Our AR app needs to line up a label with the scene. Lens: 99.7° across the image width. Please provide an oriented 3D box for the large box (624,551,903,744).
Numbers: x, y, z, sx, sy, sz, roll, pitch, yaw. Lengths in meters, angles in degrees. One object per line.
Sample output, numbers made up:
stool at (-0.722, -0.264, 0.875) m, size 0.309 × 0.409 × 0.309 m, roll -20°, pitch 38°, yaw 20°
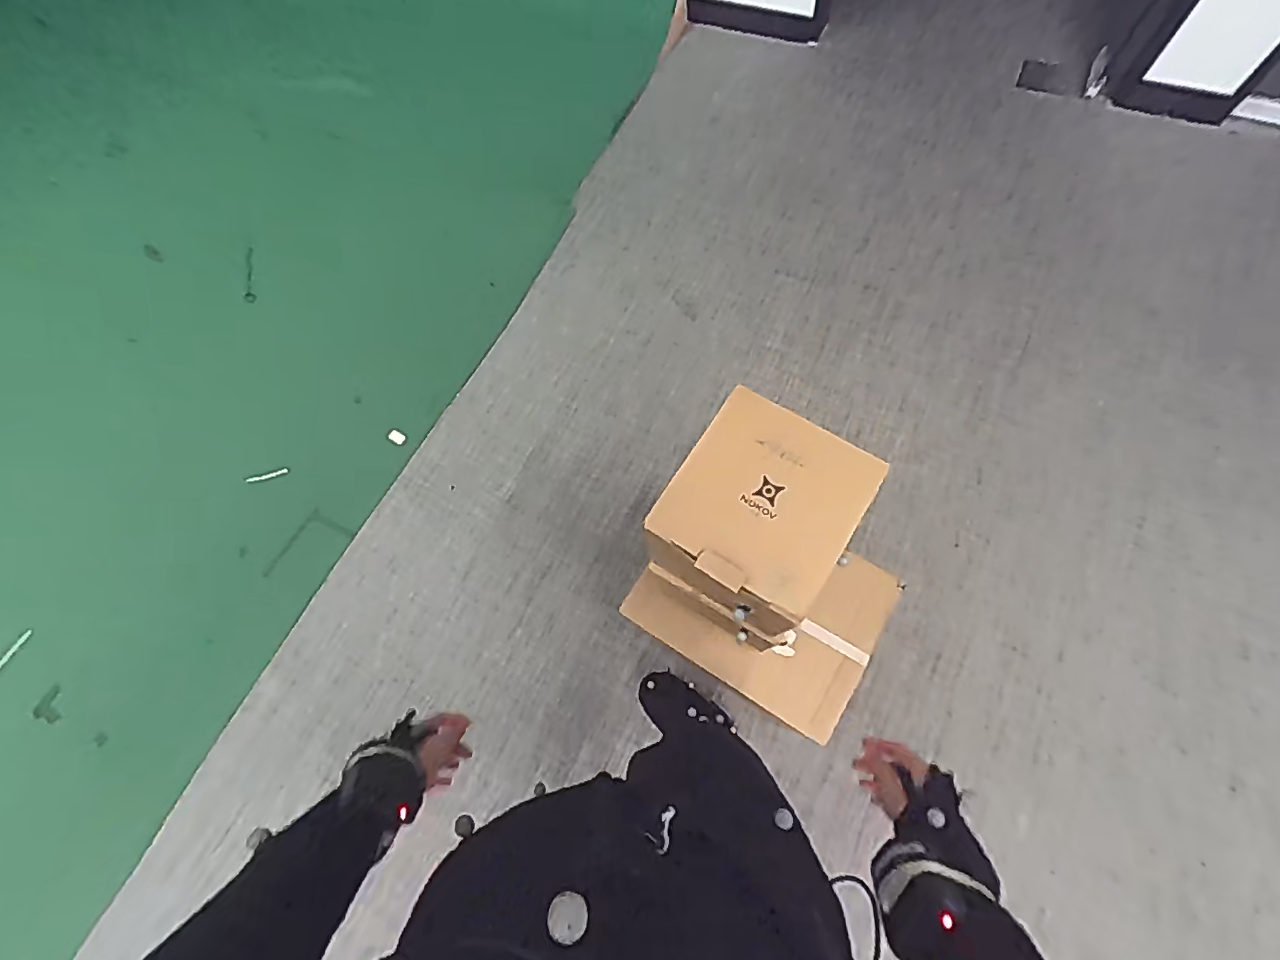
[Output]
large box at (0.224, 0.263, 1.092) m, size 0.408 × 0.320 × 0.320 m, roll 30°, pitch 76°, yaw 14°

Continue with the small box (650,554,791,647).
small box at (0.131, 0.110, 0.722) m, size 0.179 × 0.176 × 0.168 m, roll 28°, pitch 75°, yaw 14°

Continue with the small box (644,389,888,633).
small box at (0.123, 0.044, 0.573) m, size 0.168 × 0.176 × 0.179 m, roll 31°, pitch 74°, yaw 14°
